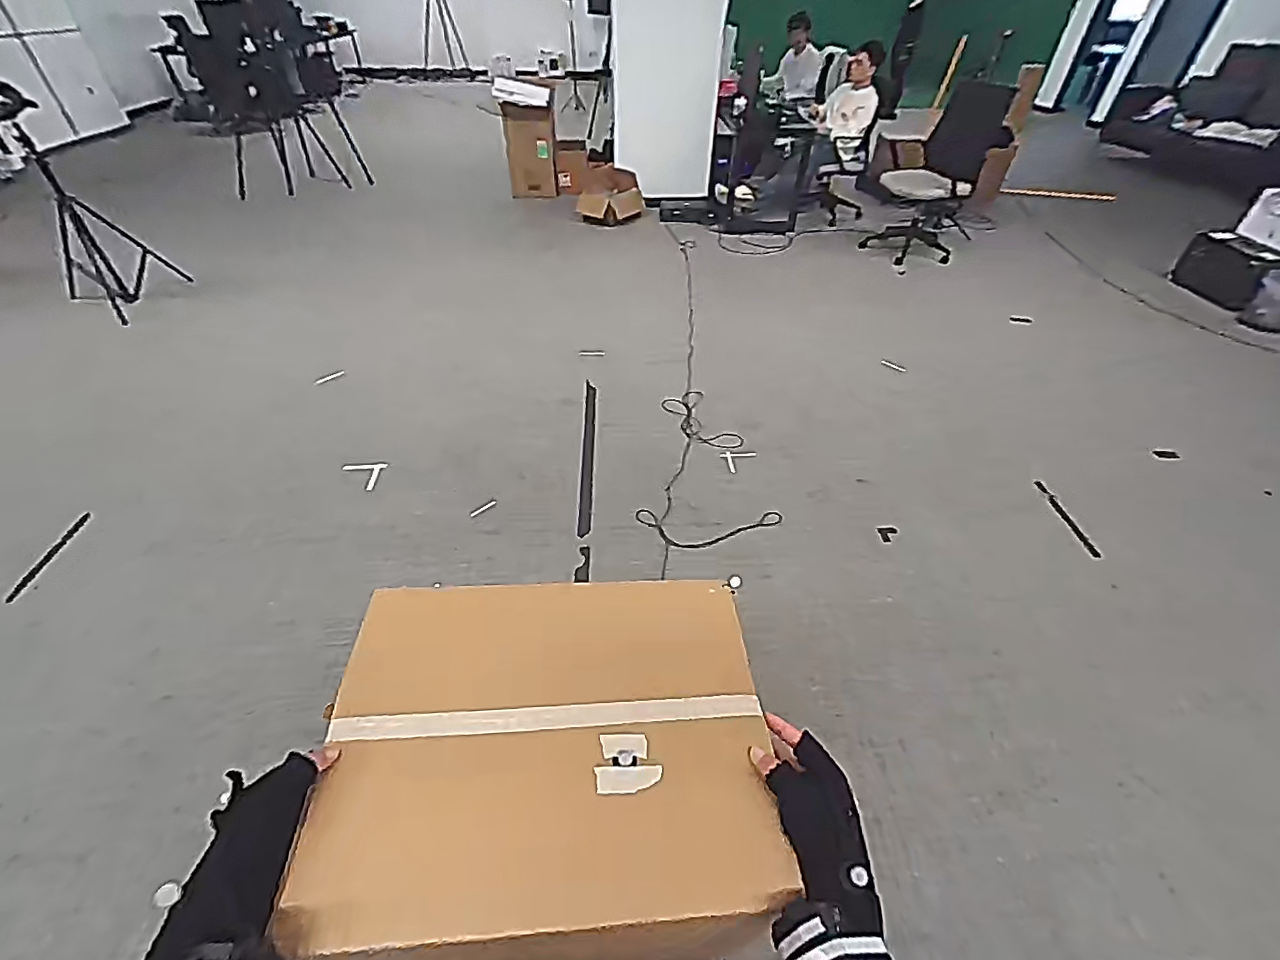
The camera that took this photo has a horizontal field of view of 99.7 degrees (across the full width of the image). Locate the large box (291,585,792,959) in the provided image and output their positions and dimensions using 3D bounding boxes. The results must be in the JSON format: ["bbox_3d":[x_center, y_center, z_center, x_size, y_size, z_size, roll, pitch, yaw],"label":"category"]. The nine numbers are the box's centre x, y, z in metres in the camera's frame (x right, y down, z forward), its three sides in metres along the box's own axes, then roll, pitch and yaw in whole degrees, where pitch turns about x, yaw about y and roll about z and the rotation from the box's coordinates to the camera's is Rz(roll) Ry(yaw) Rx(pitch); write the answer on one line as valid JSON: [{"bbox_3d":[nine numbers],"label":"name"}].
[{"bbox_3d":[-0.093,0.344,0.635,0.408,0.320,0.320,0,44,-6],"label":"large box"}]
